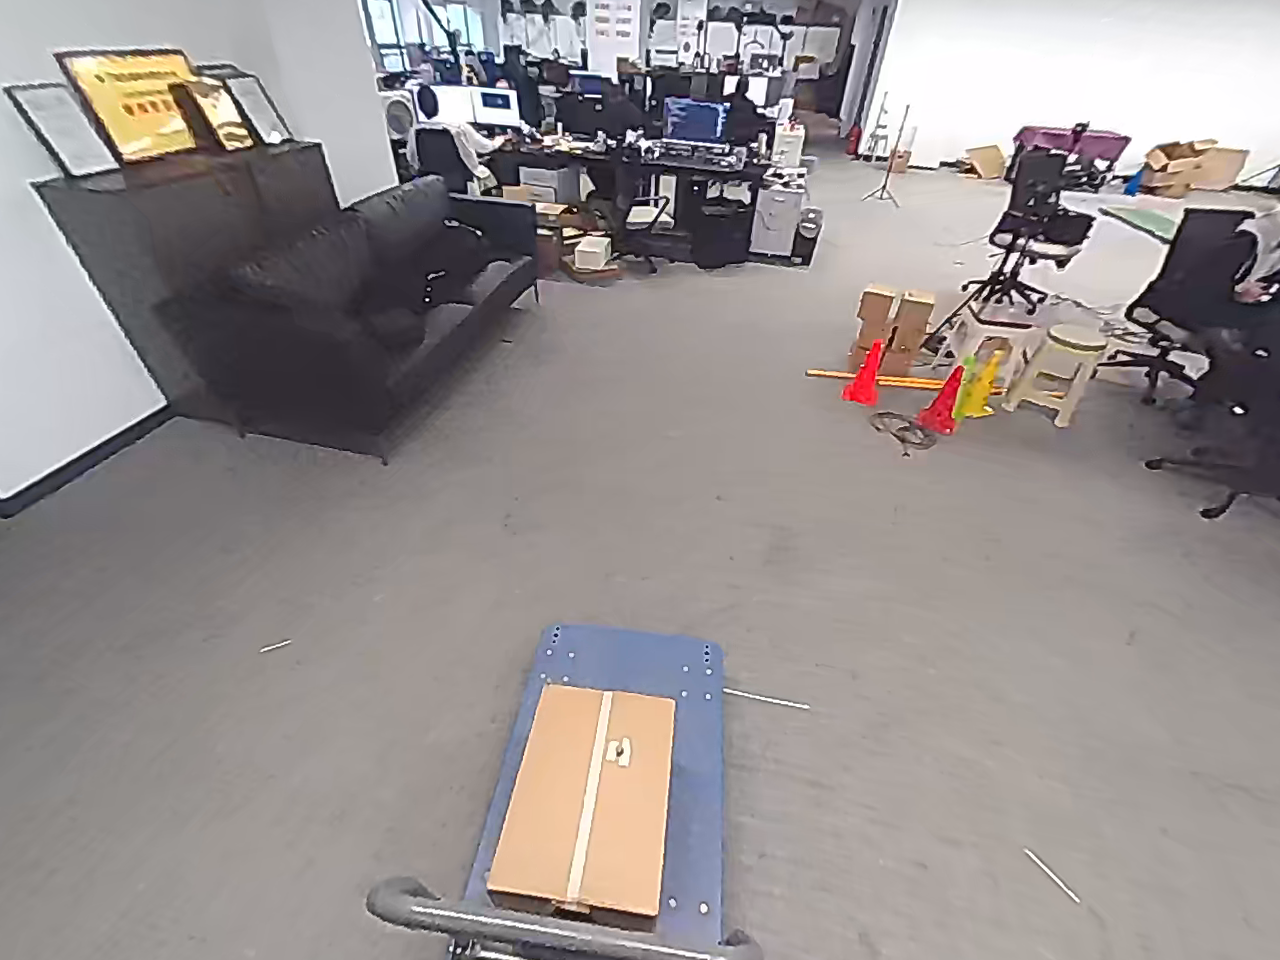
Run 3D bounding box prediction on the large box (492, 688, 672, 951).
[{"bbox_3d":[-0.100,0.739,1.198,0.320,0.320,0.408,6,38,4],"label":"large box"}]
